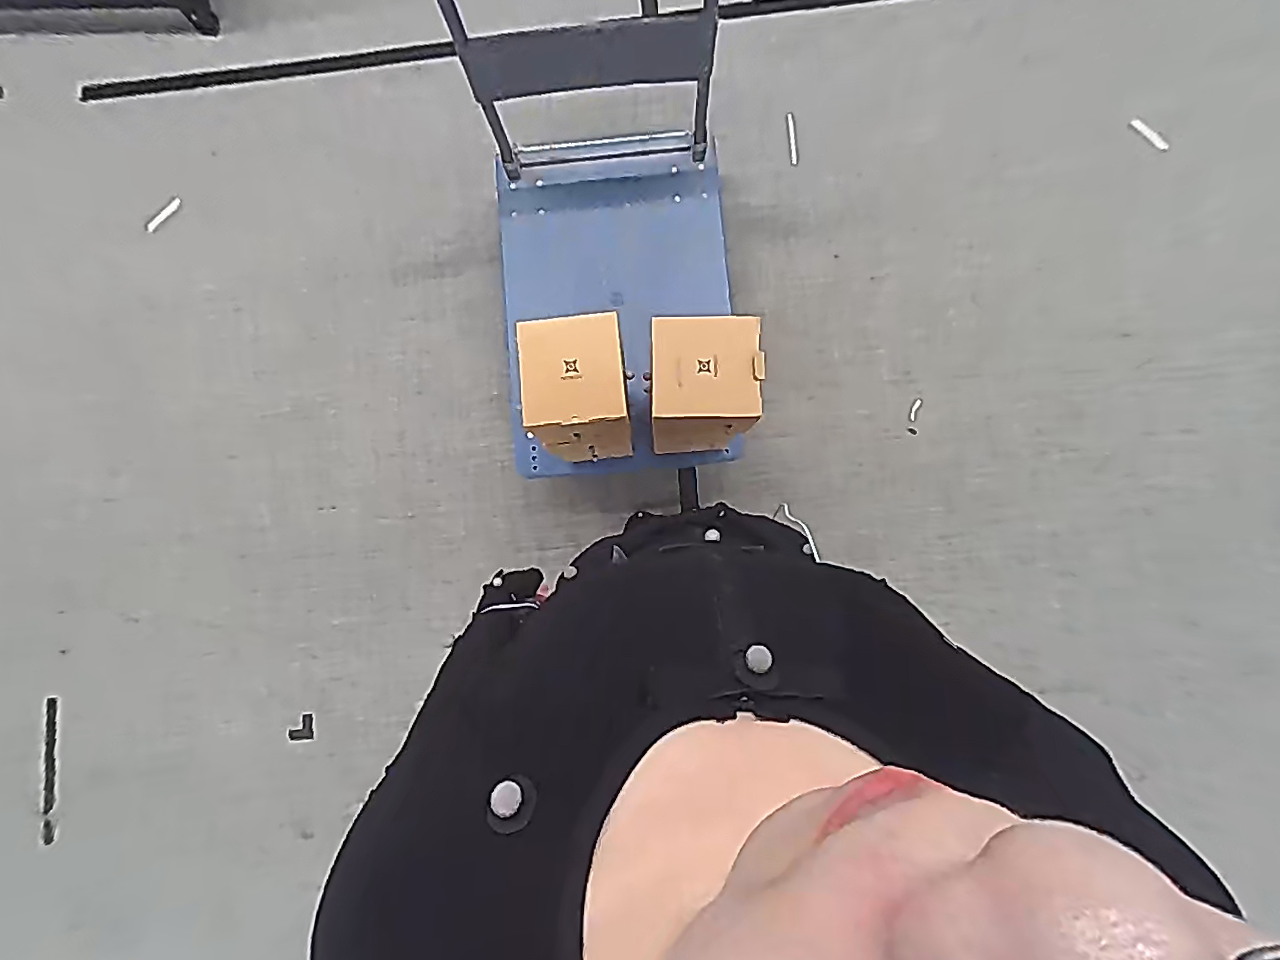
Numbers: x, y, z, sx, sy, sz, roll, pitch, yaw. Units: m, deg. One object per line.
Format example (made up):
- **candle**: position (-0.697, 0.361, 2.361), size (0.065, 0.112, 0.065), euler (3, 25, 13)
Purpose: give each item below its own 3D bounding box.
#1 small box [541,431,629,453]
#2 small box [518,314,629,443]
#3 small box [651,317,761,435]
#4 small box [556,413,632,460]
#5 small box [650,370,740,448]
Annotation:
- **small box**: position (-0.114, -0.153, 1.107), size (0.168, 0.176, 0.179), euler (-8, 87, 0)
- **small box**: position (-0.109, -0.169, 0.945), size (0.168, 0.176, 0.179), euler (-6, 86, 1)
- **small box**: position (0.107, -0.174, 0.941), size (0.179, 0.176, 0.168), euler (0, 85, 2)
- **small box**: position (-0.110, -0.142, 1.272), size (0.168, 0.176, 0.179), euler (-6, 85, 0)
- **small box**: position (0.106, -0.166, 1.104), size (0.168, 0.176, 0.179), euler (-3, 86, 1)
